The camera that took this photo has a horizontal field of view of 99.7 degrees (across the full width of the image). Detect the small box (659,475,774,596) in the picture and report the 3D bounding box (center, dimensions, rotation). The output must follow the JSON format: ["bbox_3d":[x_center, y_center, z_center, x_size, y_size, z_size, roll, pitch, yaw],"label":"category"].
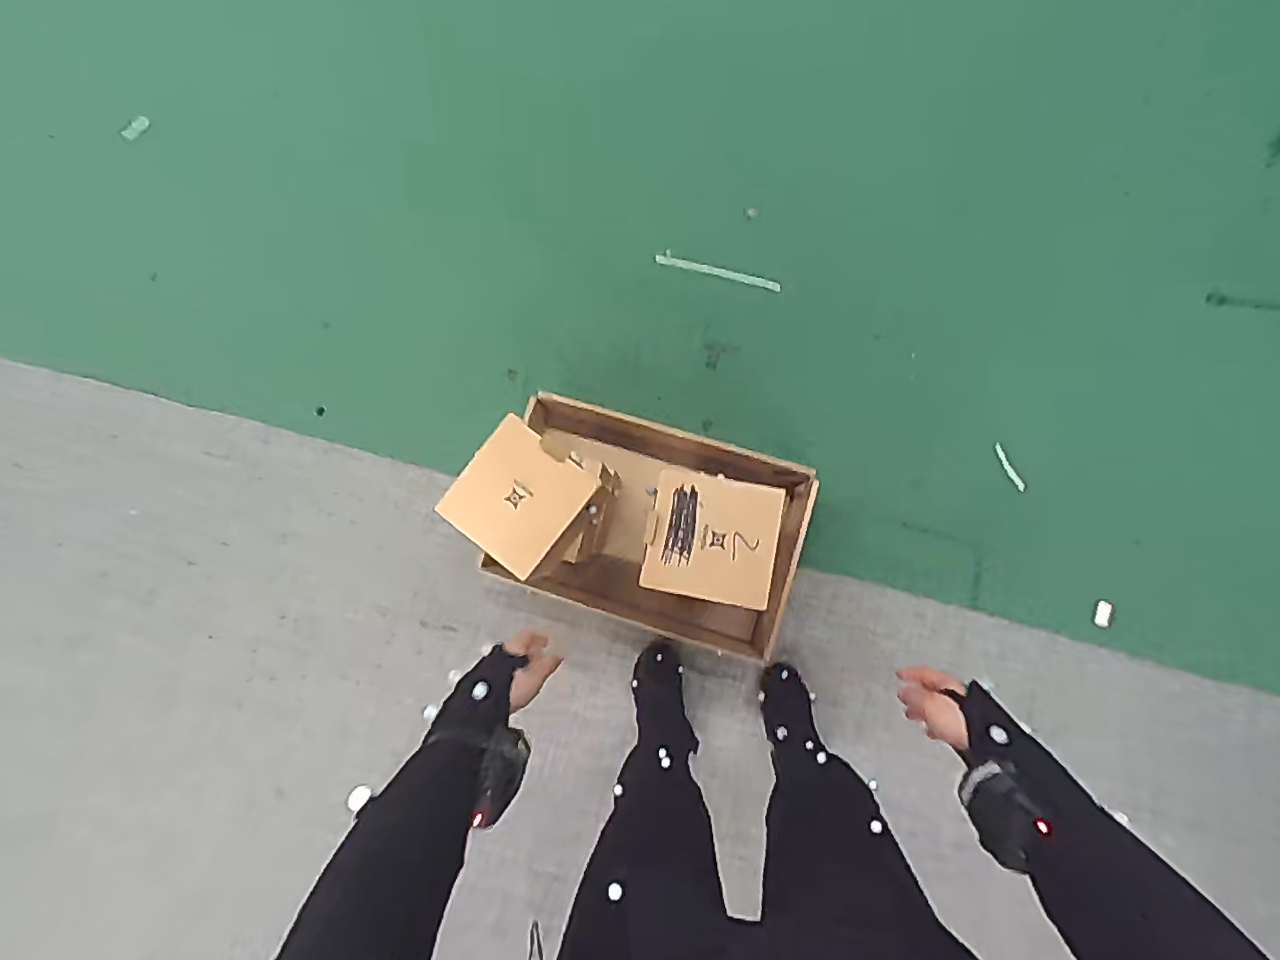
[{"bbox_3d":[0.133,0.097,0.969,0.168,0.176,0.179,10,86,6],"label":"small box"}]

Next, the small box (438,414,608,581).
[{"bbox_3d":[-0.162,0.032,0.823,0.168,0.176,0.179,38,86,6],"label":"small box"}]

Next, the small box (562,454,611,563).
[{"bbox_3d":[-0.156,0.042,0.986,0.168,0.176,0.179,16,84,3],"label":"small box"}]
